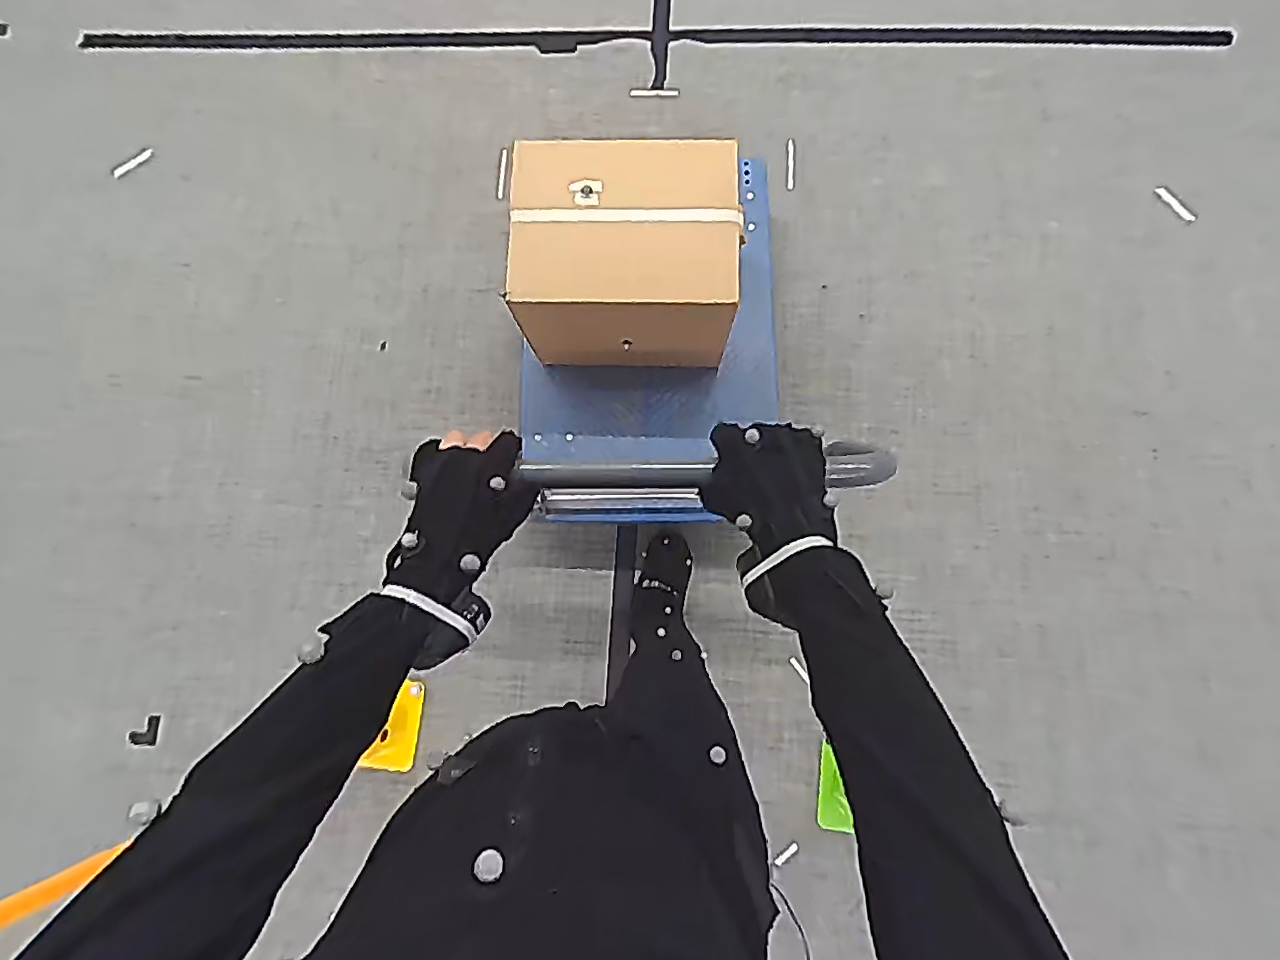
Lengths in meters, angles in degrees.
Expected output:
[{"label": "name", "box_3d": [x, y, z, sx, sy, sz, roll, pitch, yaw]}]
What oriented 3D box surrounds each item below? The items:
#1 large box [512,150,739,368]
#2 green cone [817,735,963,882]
[{"label": "large box", "box_3d": [-0.017, -0.423, 1.106, 0.408, 0.320, 0.320, 1, 81, 3]}, {"label": "green cone", "box_3d": [0.500, 0.662, 1.048, 0.202, 0.368, 0.200, 7, 81, 2]}]
